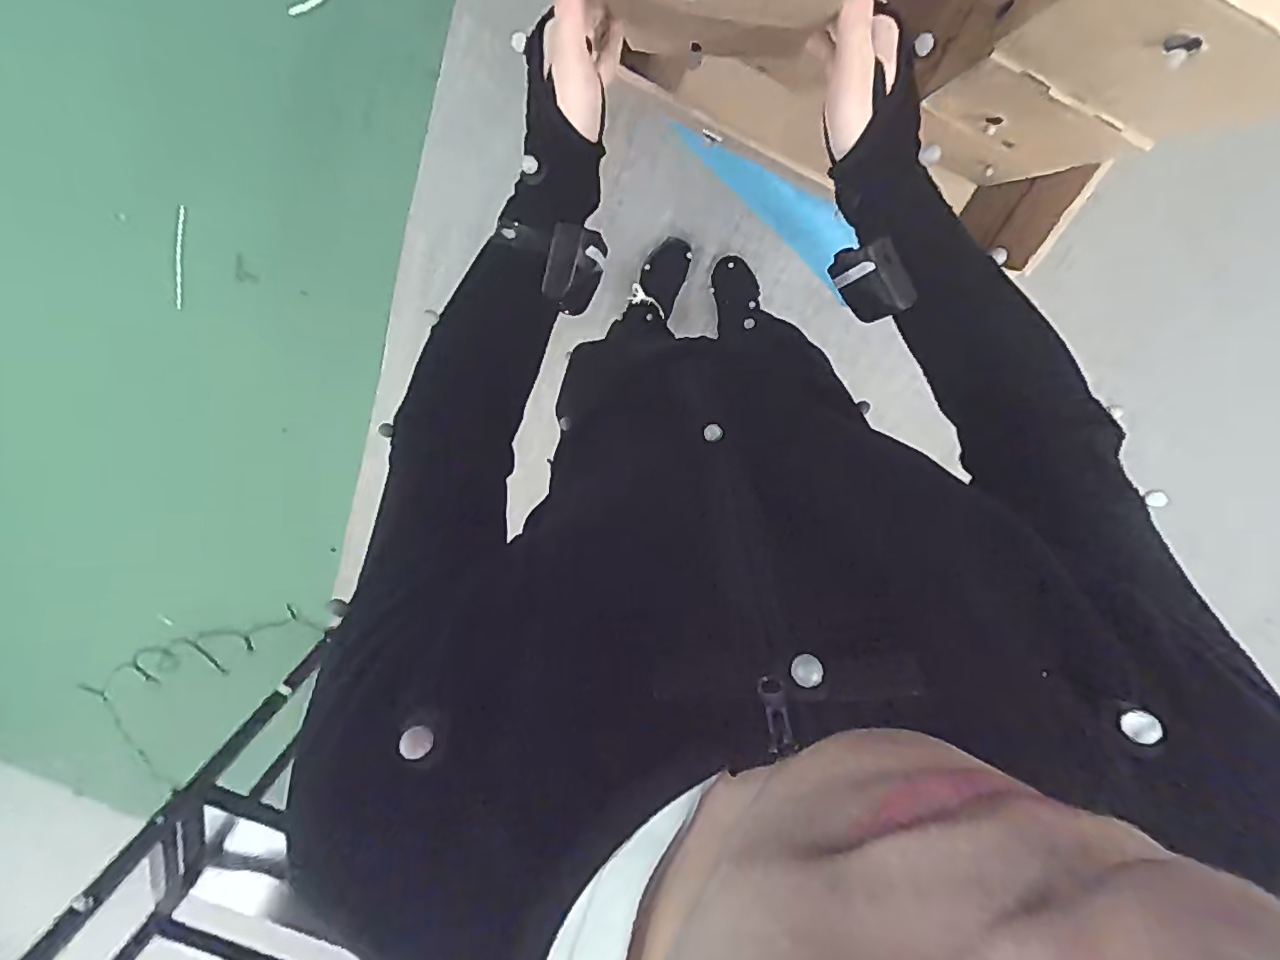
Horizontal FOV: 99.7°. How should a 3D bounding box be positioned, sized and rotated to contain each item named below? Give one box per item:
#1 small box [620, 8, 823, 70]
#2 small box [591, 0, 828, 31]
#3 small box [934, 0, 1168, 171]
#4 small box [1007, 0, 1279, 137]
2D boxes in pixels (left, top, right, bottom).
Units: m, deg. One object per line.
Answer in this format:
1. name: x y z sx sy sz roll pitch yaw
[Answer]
1. small box: 0.066 -0.457 0.429 0.168 0.176 0.179 6 118 5
2. small box: 0.045 -0.372 0.290 0.179 0.176 0.168 10 117 4
3. small box: 0.408 -0.411 0.487 0.168 0.176 0.179 27 115 -4
4. small box: 0.385 -0.346 0.337 0.179 0.176 0.168 26 115 -4
